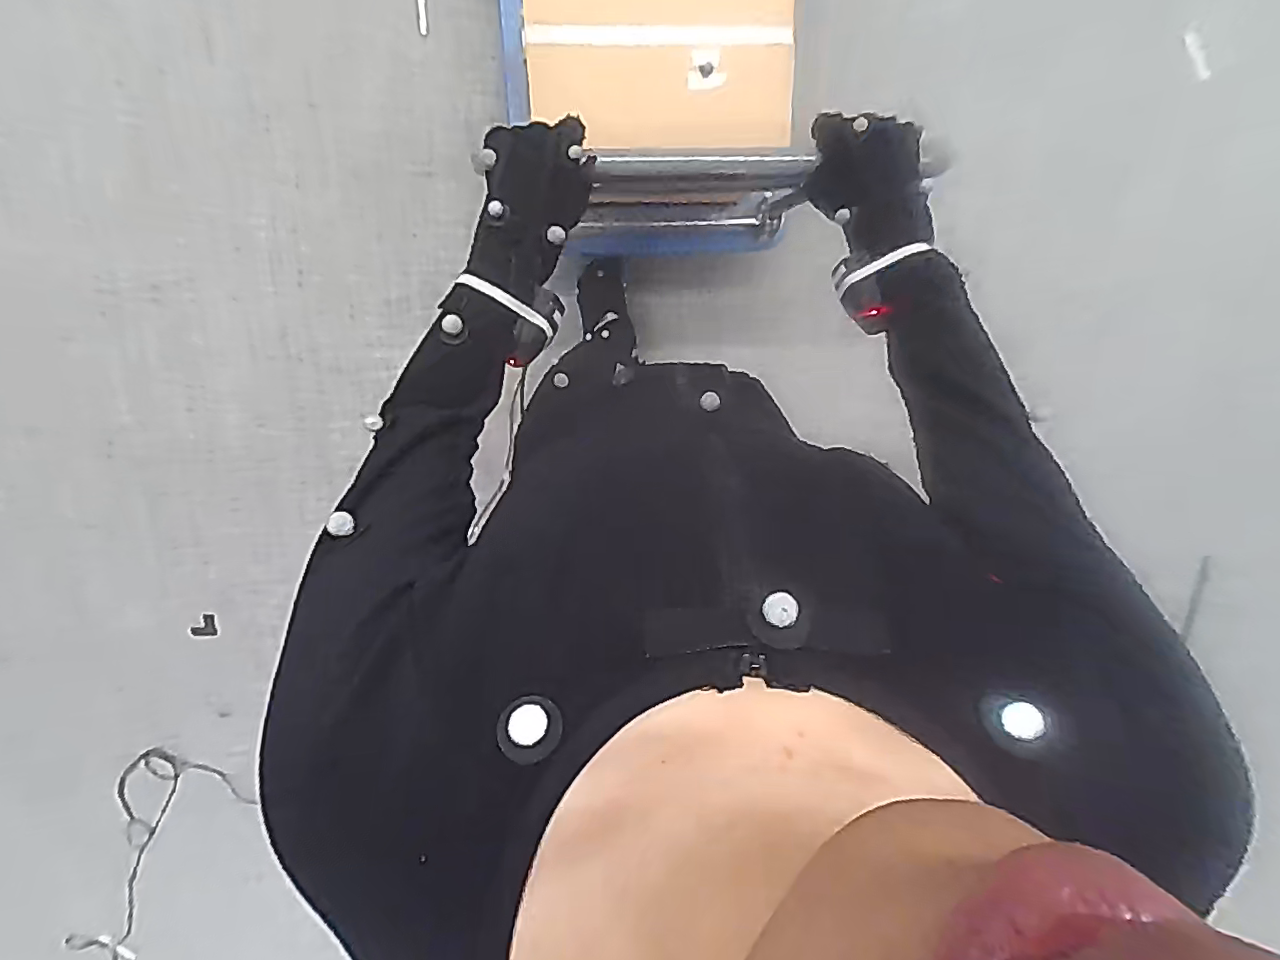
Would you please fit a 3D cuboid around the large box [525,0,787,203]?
[{"bbox_3d":[0.015,-0.708,0.968,0.408,0.320,0.320,-3,105,-5],"label":"large box"}]
